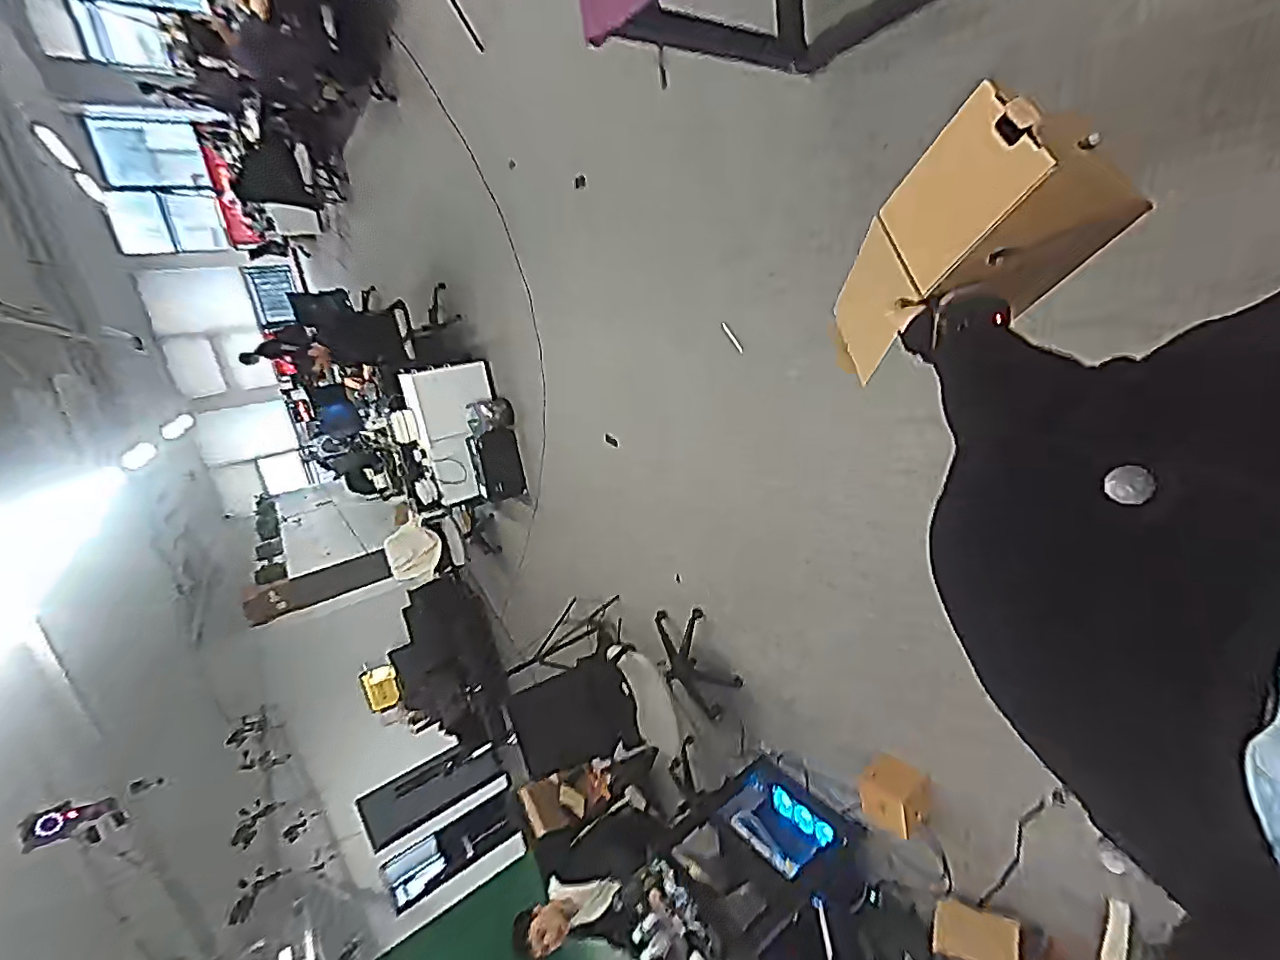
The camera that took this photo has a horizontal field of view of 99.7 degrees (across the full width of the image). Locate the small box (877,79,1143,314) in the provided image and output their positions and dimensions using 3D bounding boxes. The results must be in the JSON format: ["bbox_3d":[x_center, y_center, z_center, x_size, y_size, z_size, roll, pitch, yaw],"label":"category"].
[{"bbox_3d":[0.437,-0.330,0.661,0.179,0.176,0.168,125,143,-52],"label":"small box"}]
